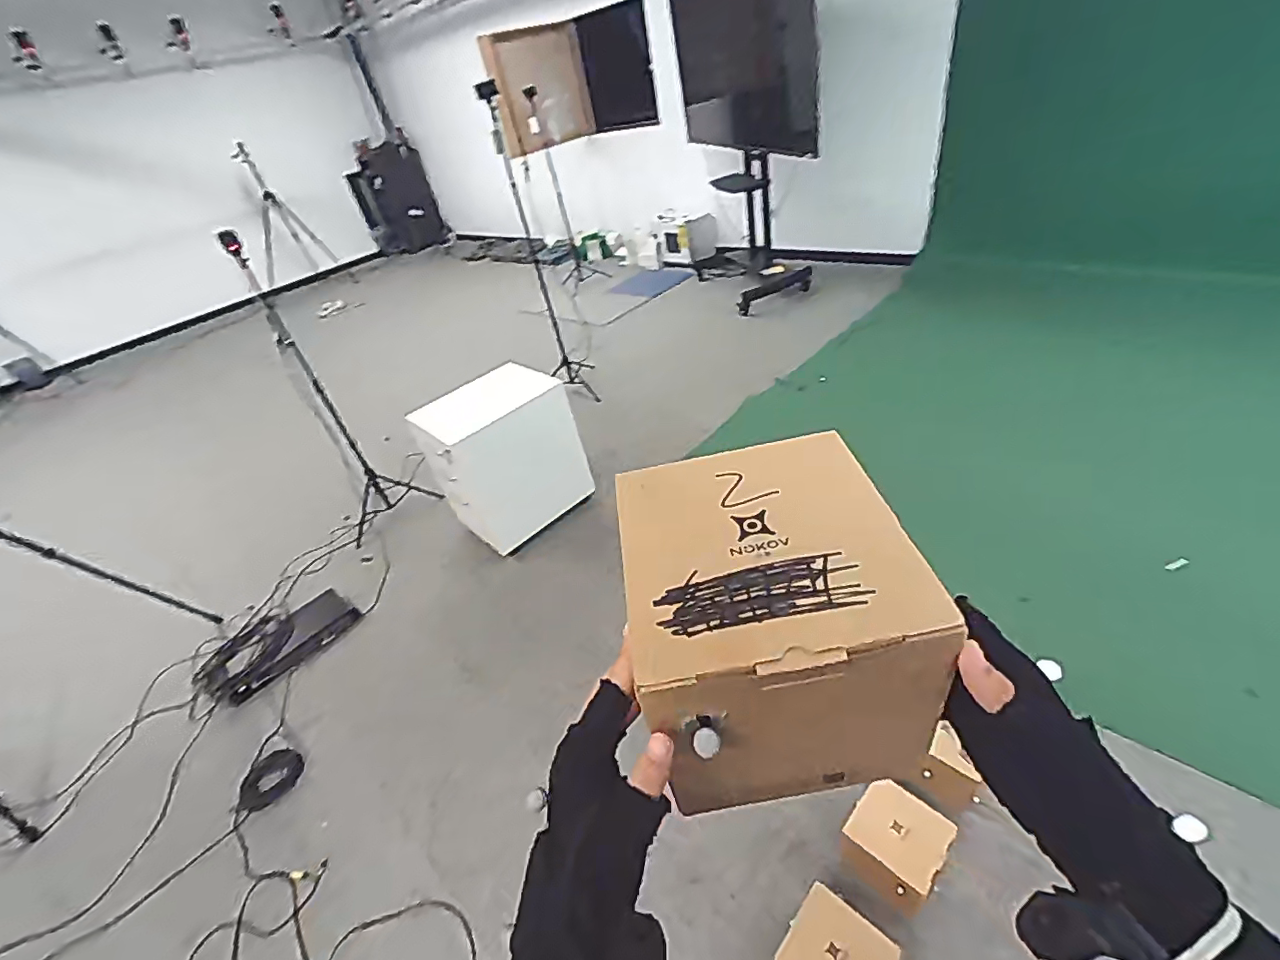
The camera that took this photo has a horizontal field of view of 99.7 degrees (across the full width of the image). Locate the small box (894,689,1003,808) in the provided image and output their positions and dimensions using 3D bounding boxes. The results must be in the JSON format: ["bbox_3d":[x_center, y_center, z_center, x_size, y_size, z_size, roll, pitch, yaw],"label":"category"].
[{"bbox_3d":[0.742,0.655,1.311,0.179,0.176,0.168,21,48,38],"label":"small box"}]

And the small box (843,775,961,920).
[{"bbox_3d":[0.560,0.799,1.175,0.179,0.176,0.168,25,50,39],"label":"small box"}]

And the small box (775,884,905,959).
[{"bbox_3d":[0.378,0.940,1.036,0.179,0.176,0.168,23,50,38],"label":"small box"}]
